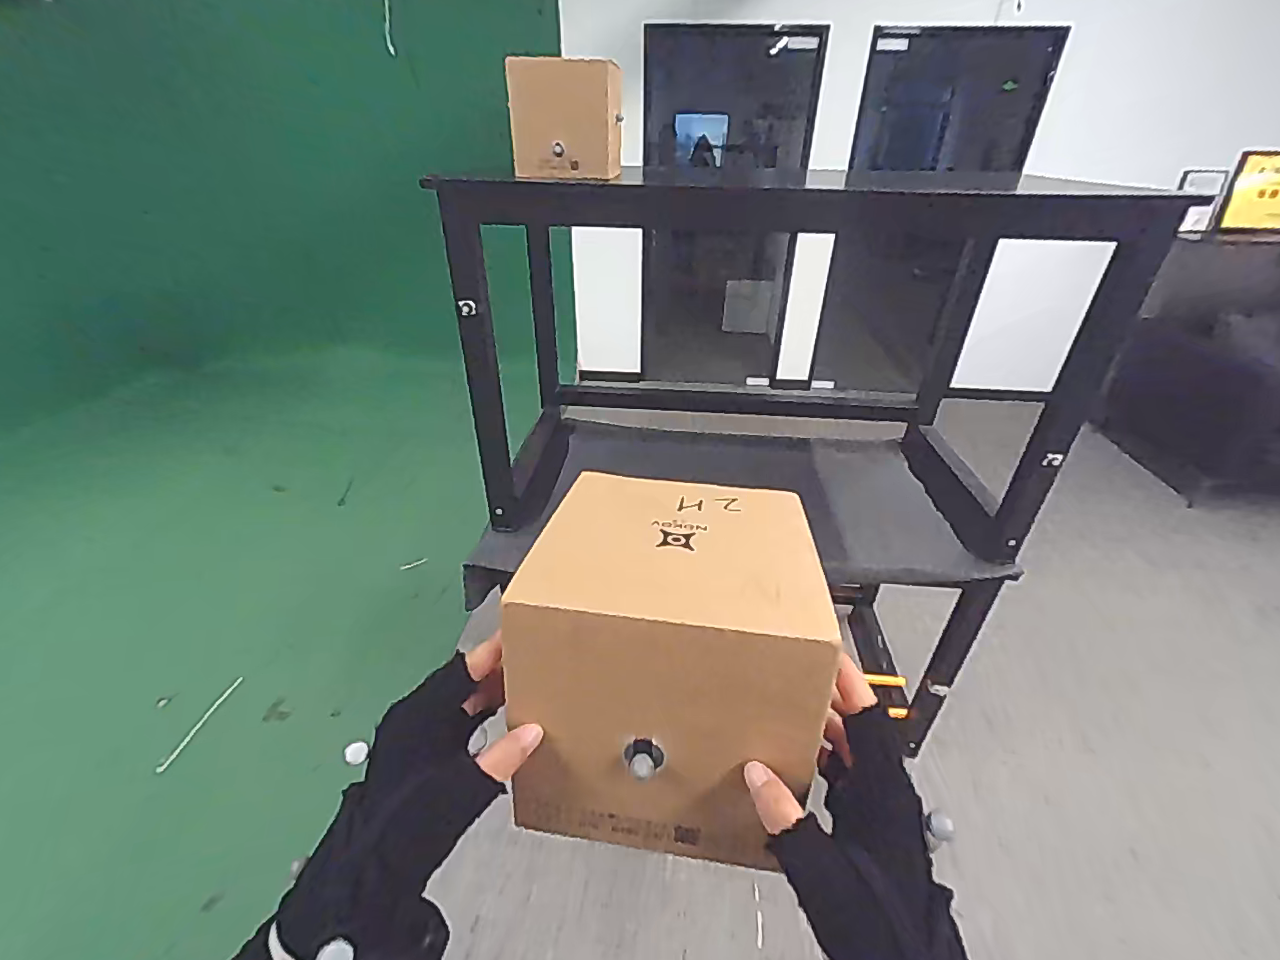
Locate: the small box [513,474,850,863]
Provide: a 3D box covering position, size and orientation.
[{"bbox_3d":[0.026,0.110,0.363,0.168,0.176,0.179,6,23,6],"label":"small box"}]
